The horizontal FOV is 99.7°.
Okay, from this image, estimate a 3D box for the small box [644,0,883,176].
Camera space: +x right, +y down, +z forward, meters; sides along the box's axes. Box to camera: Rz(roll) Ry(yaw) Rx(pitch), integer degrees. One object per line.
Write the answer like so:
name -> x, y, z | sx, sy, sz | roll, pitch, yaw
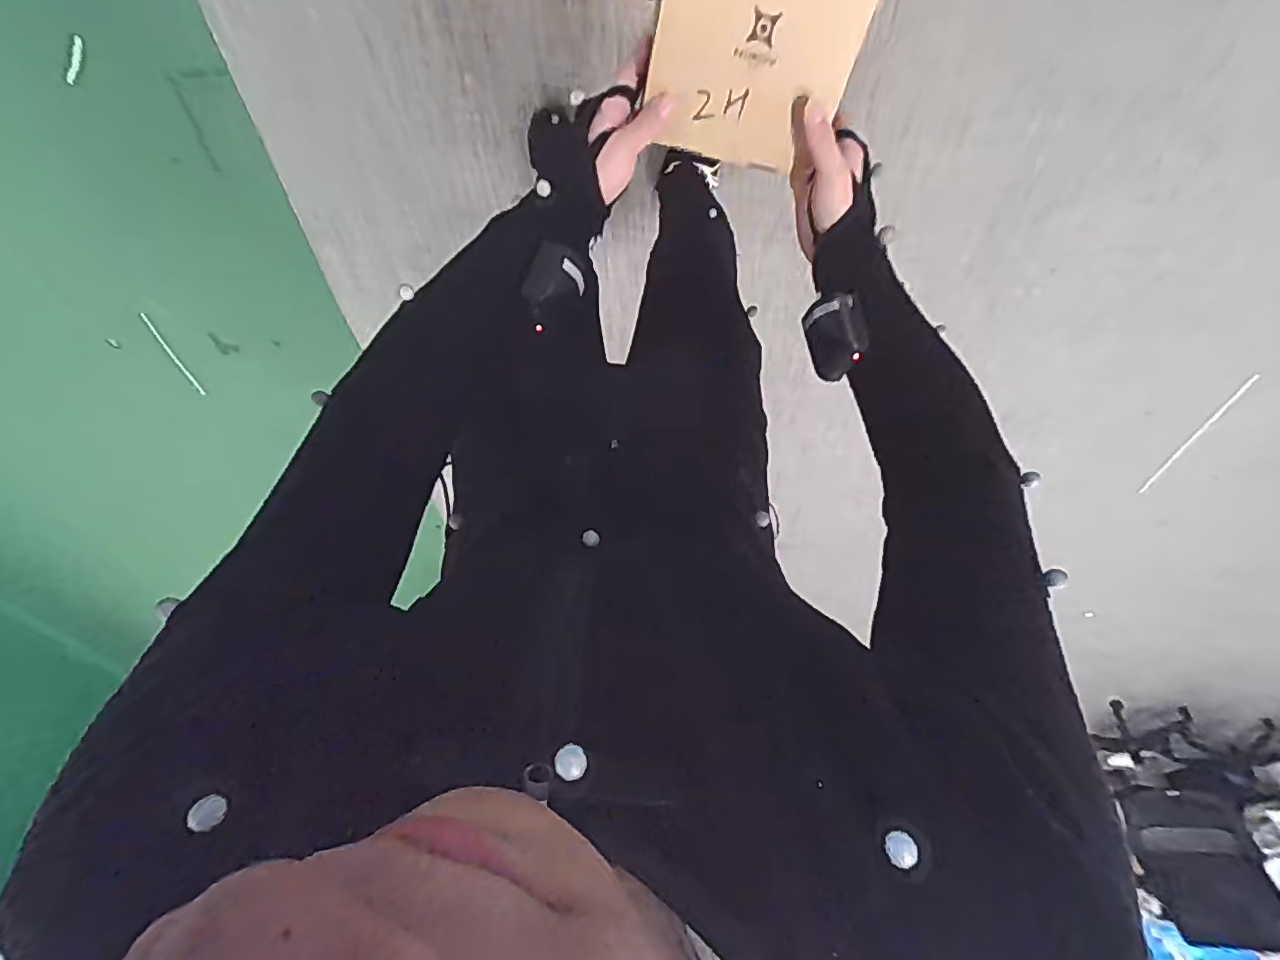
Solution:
small box -> 0.099, -0.411, 0.489 | 0.168, 0.176, 0.179 | 9, 135, -8
